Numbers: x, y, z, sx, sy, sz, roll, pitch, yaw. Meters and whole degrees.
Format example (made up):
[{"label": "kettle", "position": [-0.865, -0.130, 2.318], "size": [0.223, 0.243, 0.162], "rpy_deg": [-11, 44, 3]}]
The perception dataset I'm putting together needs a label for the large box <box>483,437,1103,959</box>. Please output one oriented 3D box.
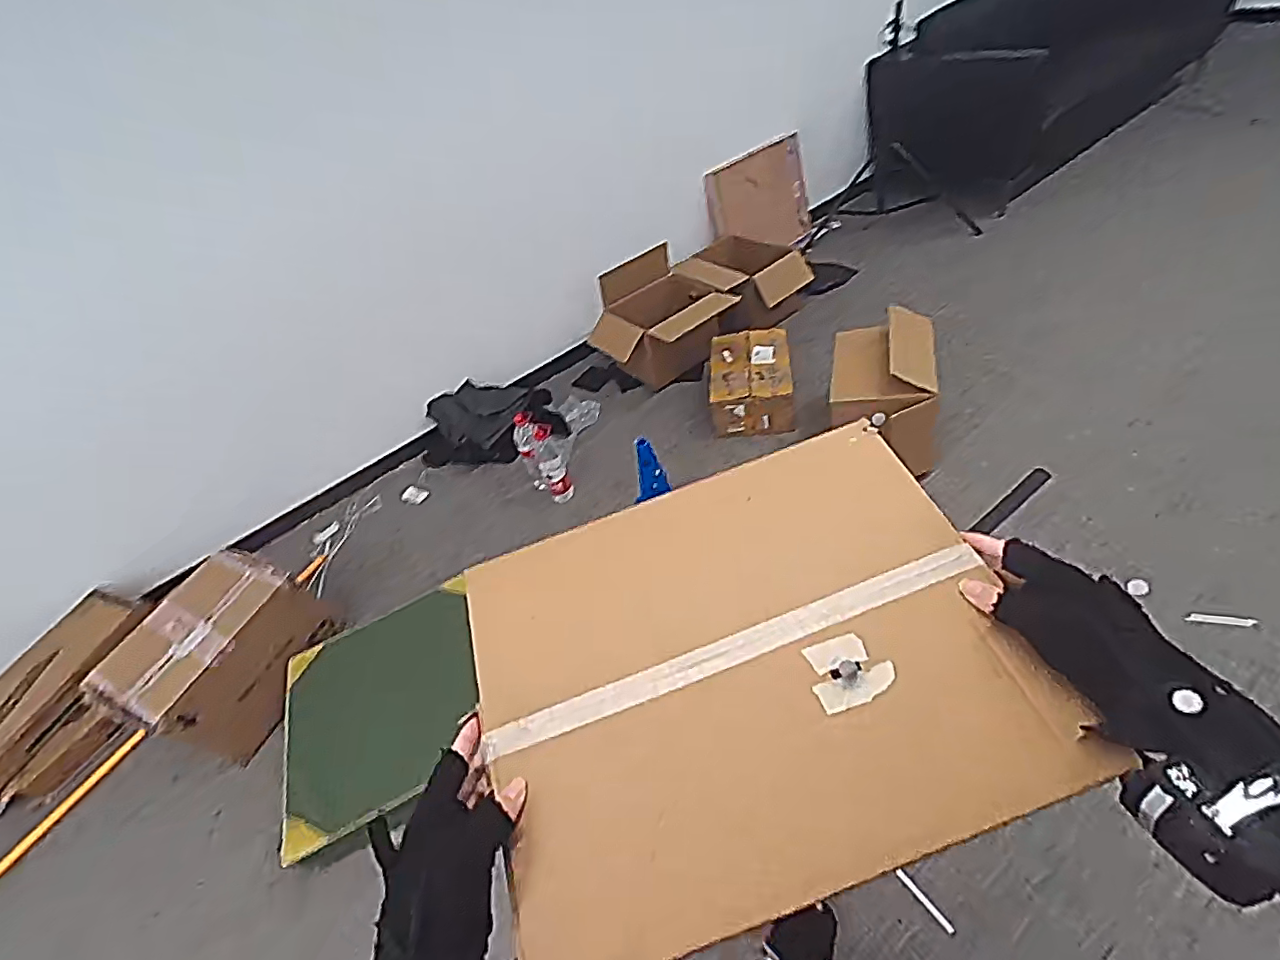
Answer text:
[{"label": "large box", "position": [0.105, 0.224, 0.555], "size": [0.408, 0.320, 0.320], "rpy_deg": [-21, 54, -2]}]
